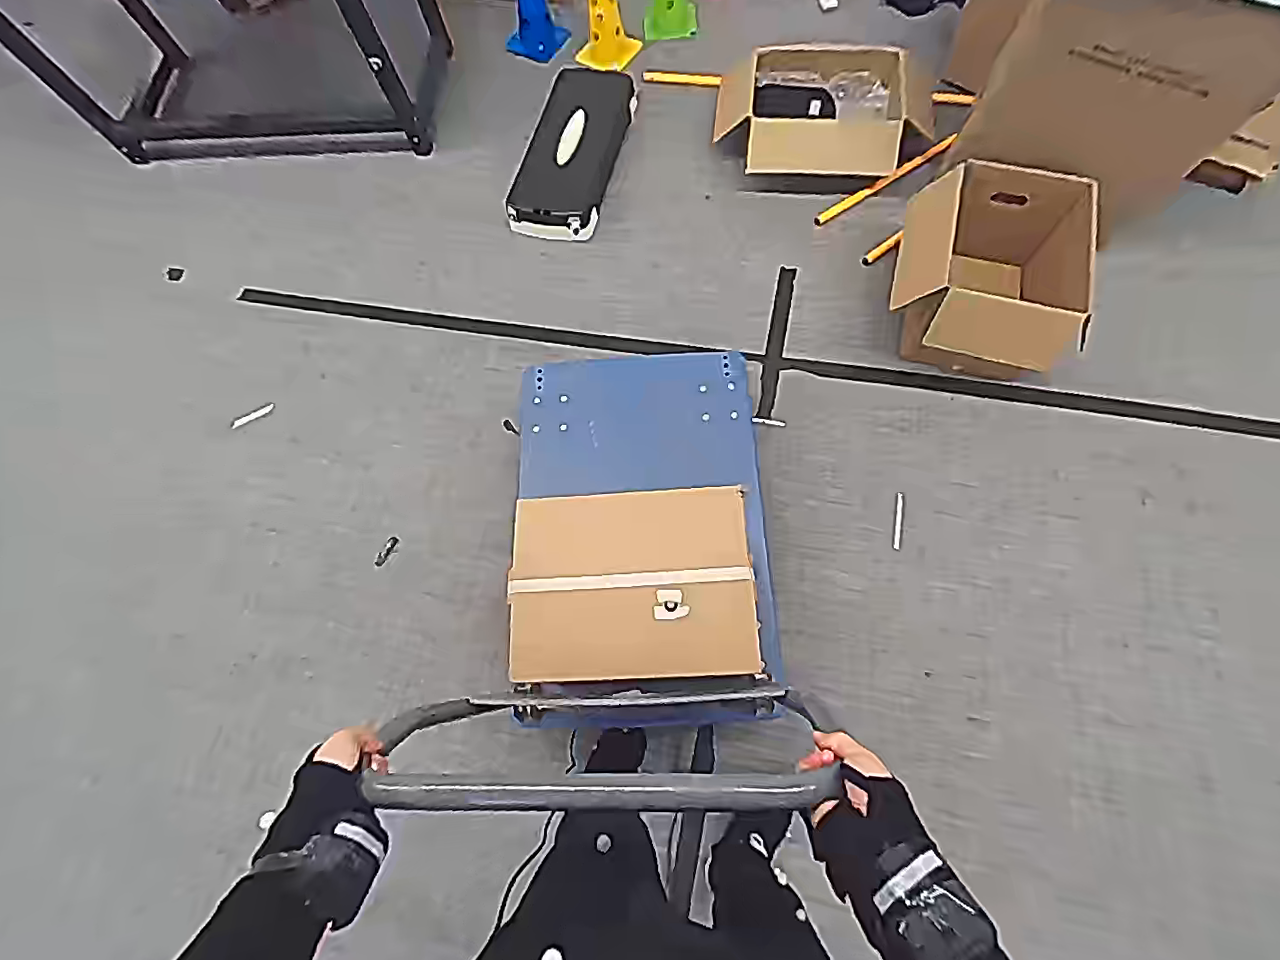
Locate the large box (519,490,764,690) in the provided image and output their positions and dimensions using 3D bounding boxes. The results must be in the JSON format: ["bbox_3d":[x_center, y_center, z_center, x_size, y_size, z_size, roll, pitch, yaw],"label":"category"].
[{"bbox_3d":[0.000,0.230,1.054,0.408,0.320,0.320,-4,70,3],"label":"large box"}]
